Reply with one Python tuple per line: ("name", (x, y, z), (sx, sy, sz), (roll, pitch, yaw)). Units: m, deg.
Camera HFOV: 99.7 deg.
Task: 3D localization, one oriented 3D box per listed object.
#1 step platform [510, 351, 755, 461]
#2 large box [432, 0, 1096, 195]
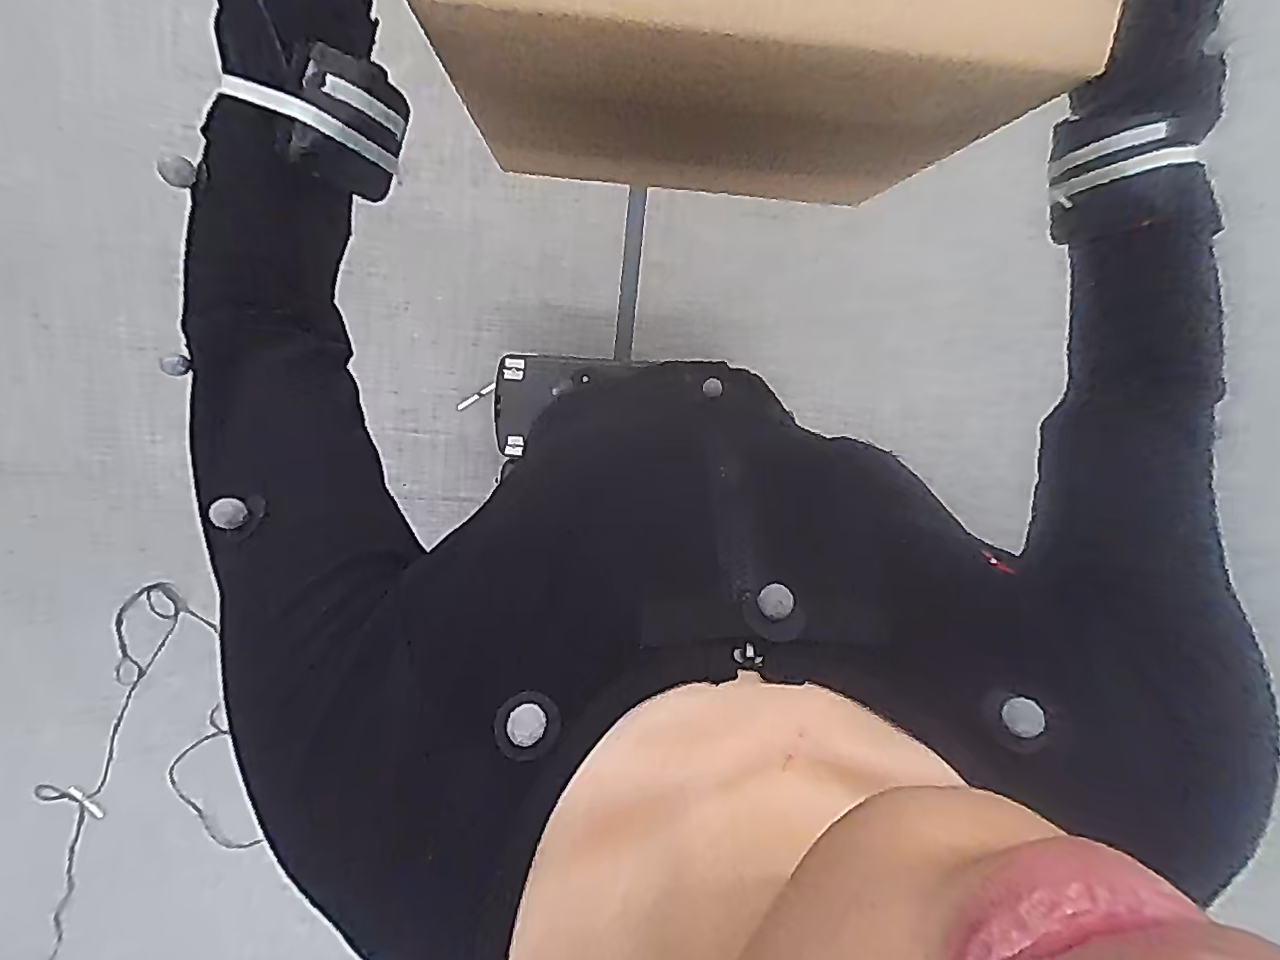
("step platform", (-0.021, -0.210, 1.544), (0.684, 0.204, 0.286), (2, 100, -4))
("large box", (0.069, -0.442, 0.425), (0.408, 0.320, 0.320), (2, 104, -6))
